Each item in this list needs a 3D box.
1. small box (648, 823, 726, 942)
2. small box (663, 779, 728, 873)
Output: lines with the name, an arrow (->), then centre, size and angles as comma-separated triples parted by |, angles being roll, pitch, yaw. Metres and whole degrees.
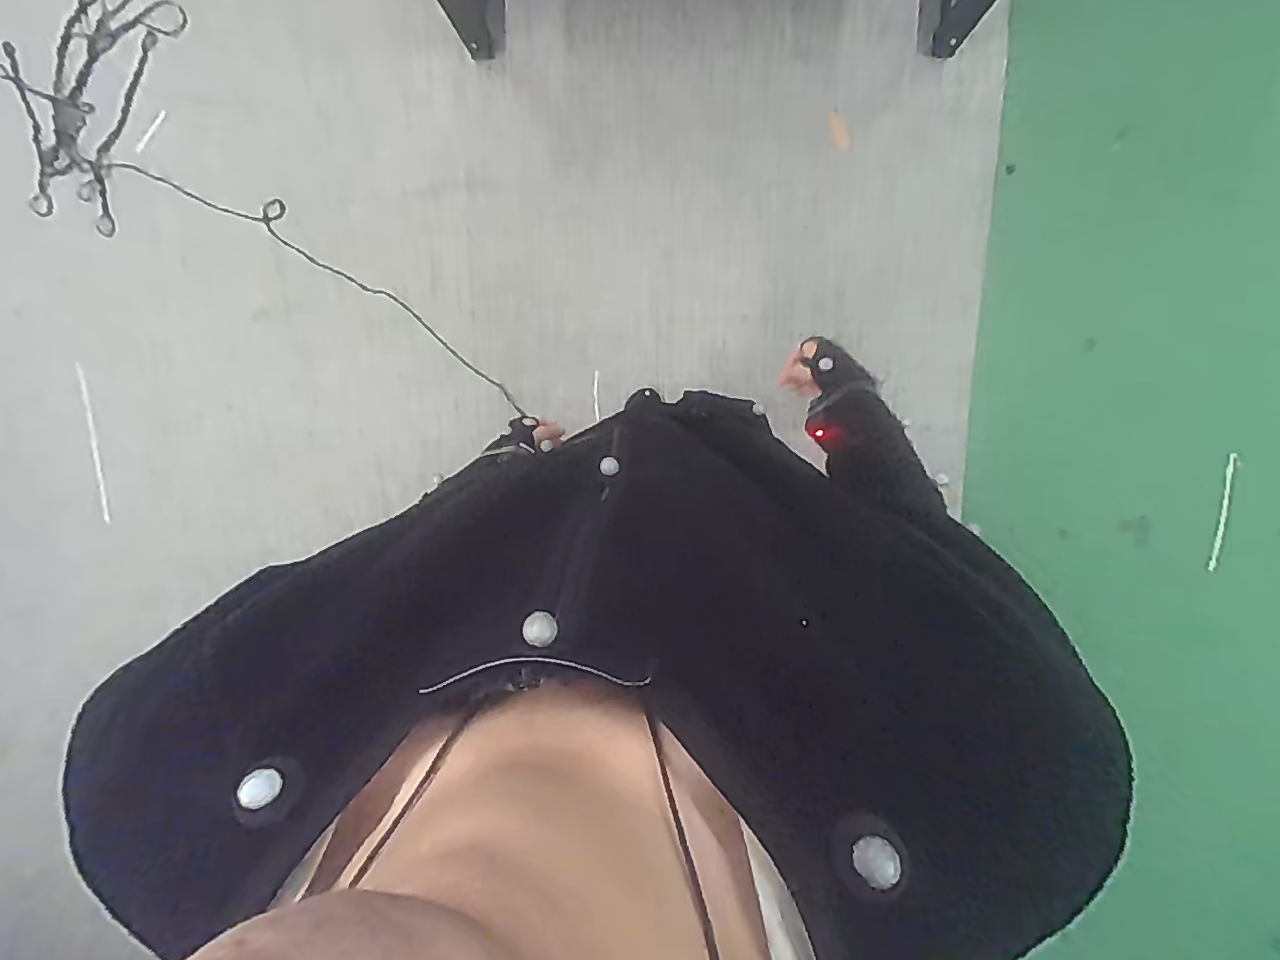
small box -> 0.120, 1.026, 1.387 | 0.168, 0.176, 0.179 | -11, 97, 5
small box -> 0.152, 0.992, 1.546 | 0.168, 0.176, 0.179 | 6, 99, 4
